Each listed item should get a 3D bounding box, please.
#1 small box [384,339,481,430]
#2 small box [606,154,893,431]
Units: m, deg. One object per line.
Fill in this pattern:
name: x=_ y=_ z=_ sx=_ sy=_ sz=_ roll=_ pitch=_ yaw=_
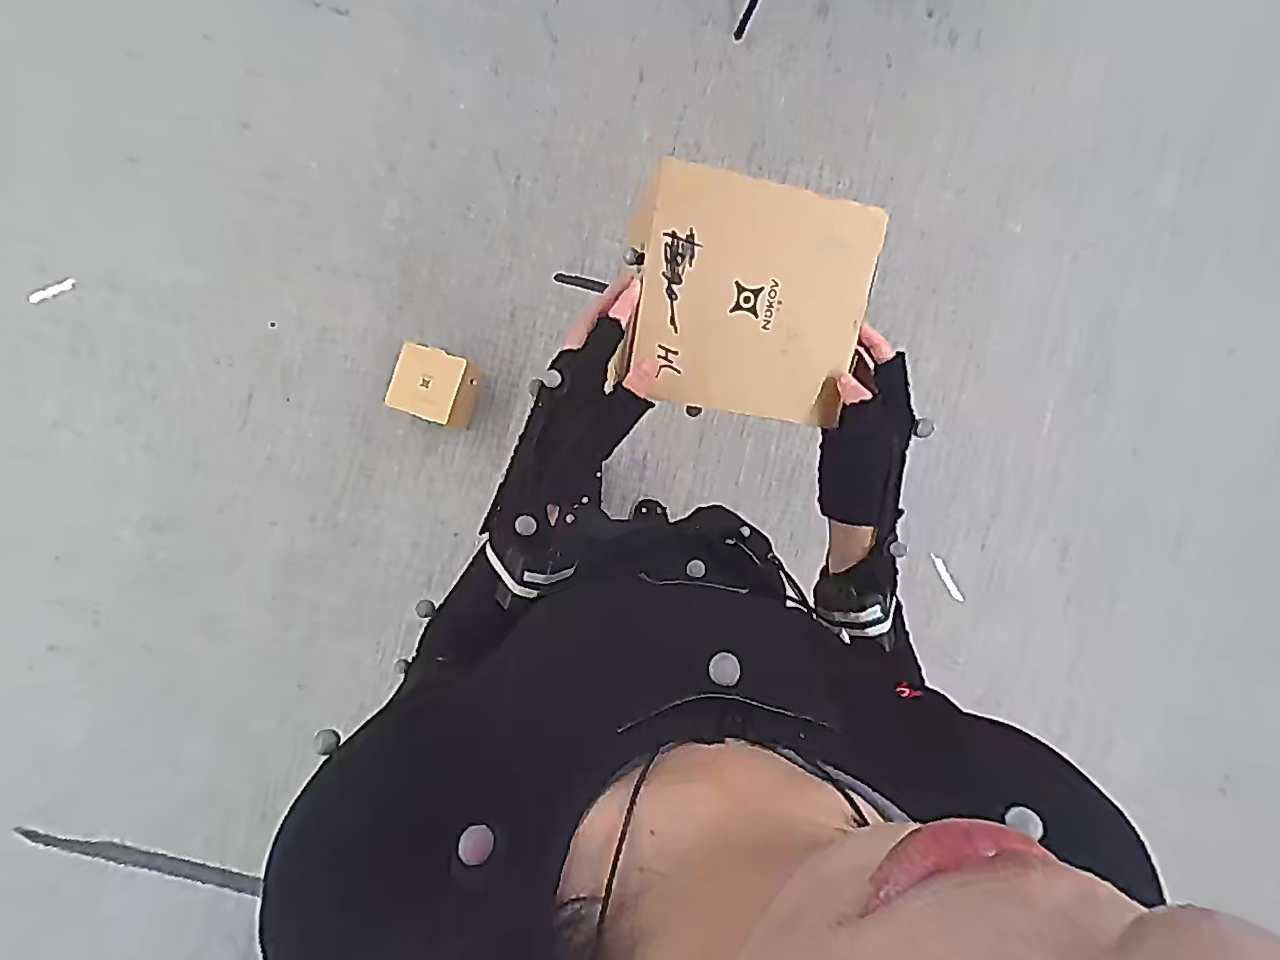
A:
small box: x=-0.535 y=-0.244 z=1.424 sx=0.168 sy=0.176 sz=0.179 roll=18 pitch=89 yaw=-1
small box: x=0.075 y=-0.145 z=0.470 sx=0.179 sy=0.176 sz=0.168 roll=8 pitch=100 yaw=-11
